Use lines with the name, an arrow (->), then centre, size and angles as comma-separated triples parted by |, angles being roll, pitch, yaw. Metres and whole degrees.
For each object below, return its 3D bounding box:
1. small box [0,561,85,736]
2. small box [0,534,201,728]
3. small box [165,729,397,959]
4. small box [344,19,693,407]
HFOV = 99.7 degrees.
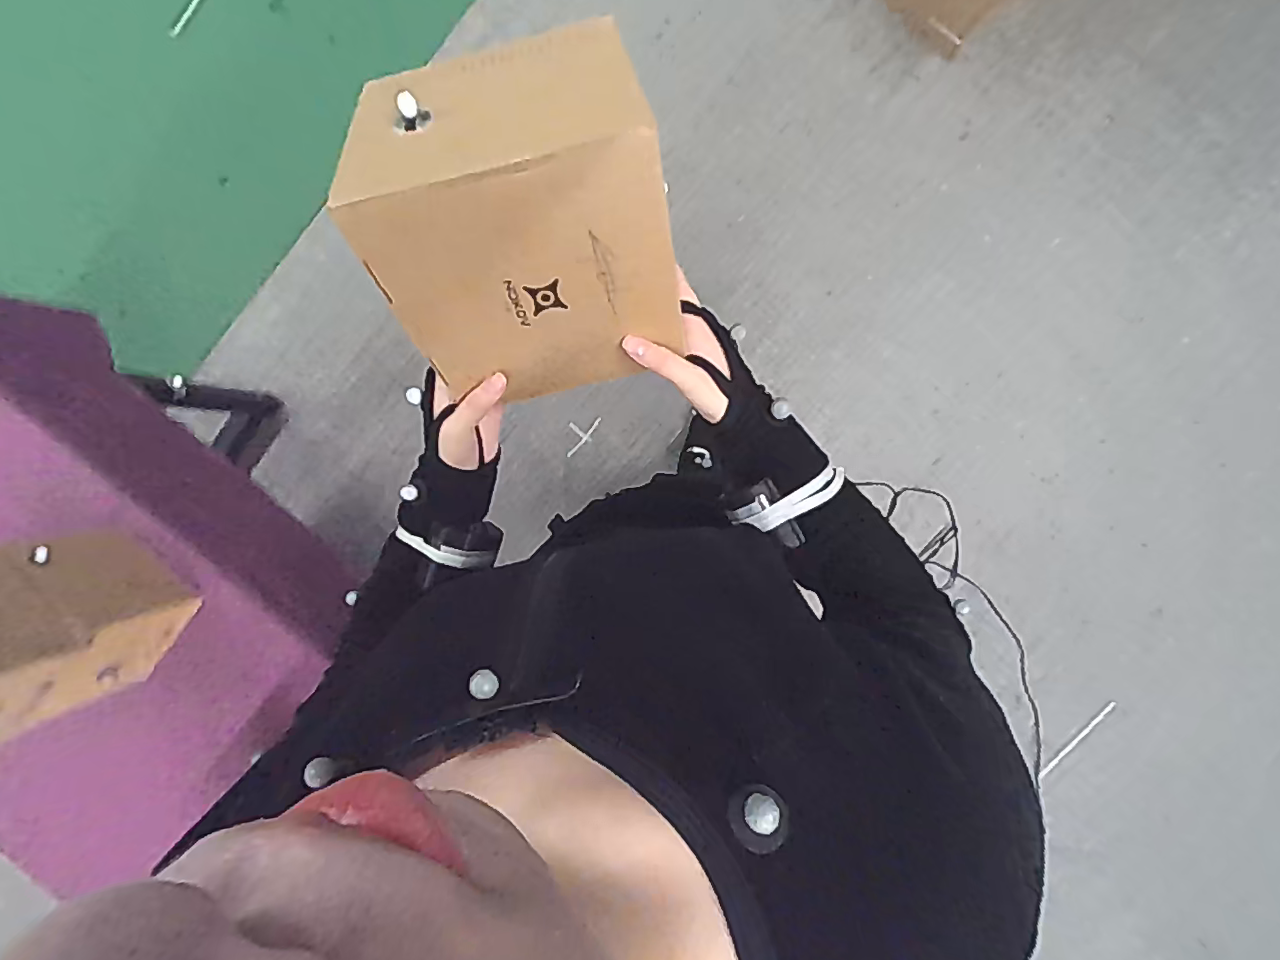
small box -> -0.789, 0.207, 0.590 | 0.179, 0.176, 0.168 | 43, 96, 1
small box -> -0.781, 0.193, 0.754 | 0.179, 0.176, 0.168 | 39, 96, 2
small box -> -0.469, 0.486, 0.742 | 0.168, 0.176, 0.179 | 41, 96, 2
small box -> -0.067, -0.182, 0.381 | 0.179, 0.168, 0.176 | -12, 56, 2
